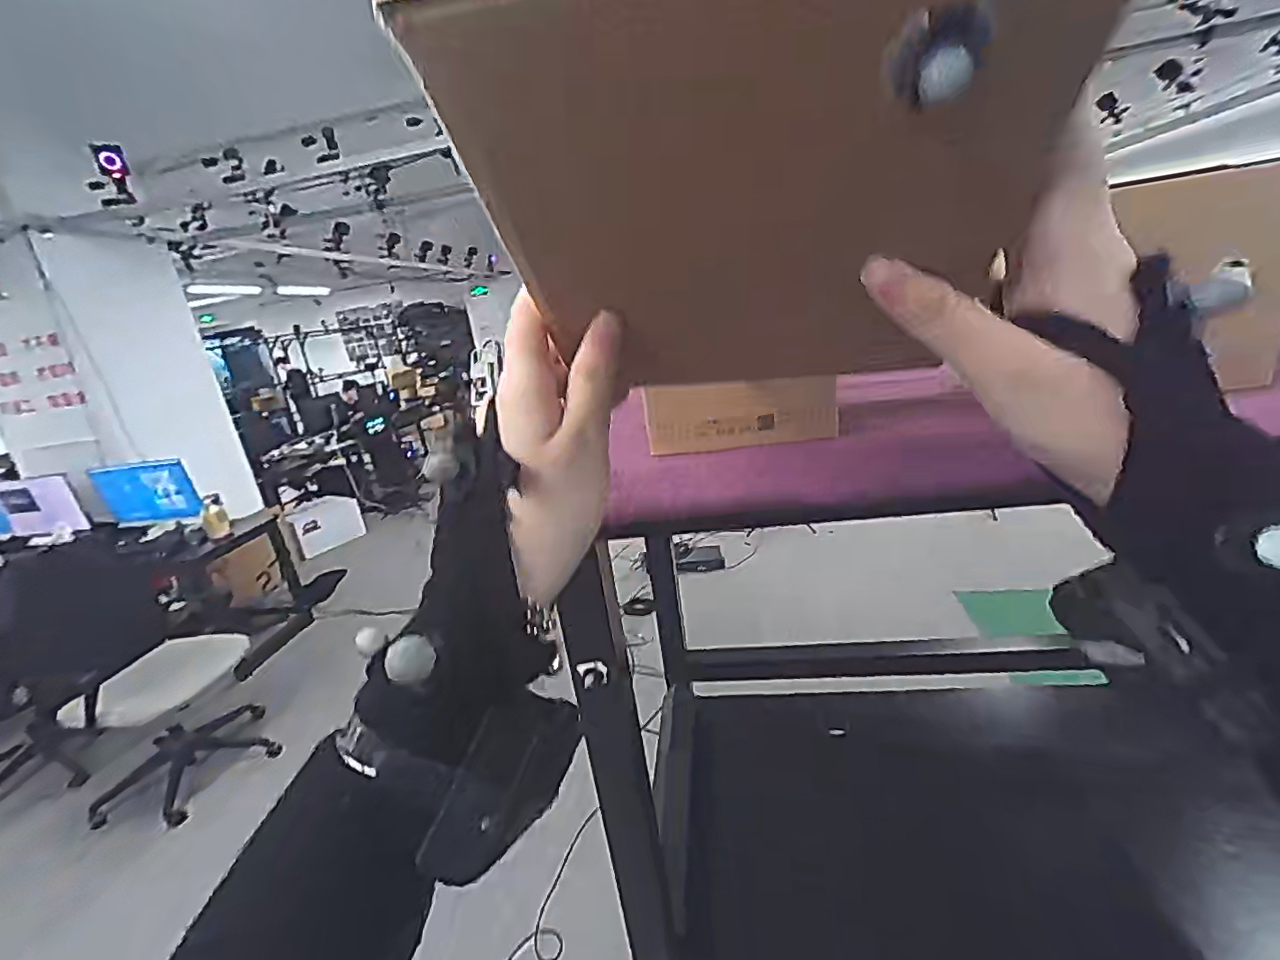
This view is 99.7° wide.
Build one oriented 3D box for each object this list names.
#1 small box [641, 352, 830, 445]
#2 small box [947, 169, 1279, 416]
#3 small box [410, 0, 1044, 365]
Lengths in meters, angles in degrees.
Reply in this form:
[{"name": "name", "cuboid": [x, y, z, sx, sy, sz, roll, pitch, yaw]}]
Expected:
[{"name": "small box", "cuboid": [0.090, -0.134, 0.542, 0.168, 0.176, 0.179, -4, 18, 8]}, {"name": "small box", "cuboid": [0.408, -0.163, 0.500, 0.179, 0.176, 0.168, -7, 16, 8]}, {"name": "small box", "cuboid": [0.040, -0.165, 0.236, 0.179, 0.168, 0.176, -1, -26, 9]}]
